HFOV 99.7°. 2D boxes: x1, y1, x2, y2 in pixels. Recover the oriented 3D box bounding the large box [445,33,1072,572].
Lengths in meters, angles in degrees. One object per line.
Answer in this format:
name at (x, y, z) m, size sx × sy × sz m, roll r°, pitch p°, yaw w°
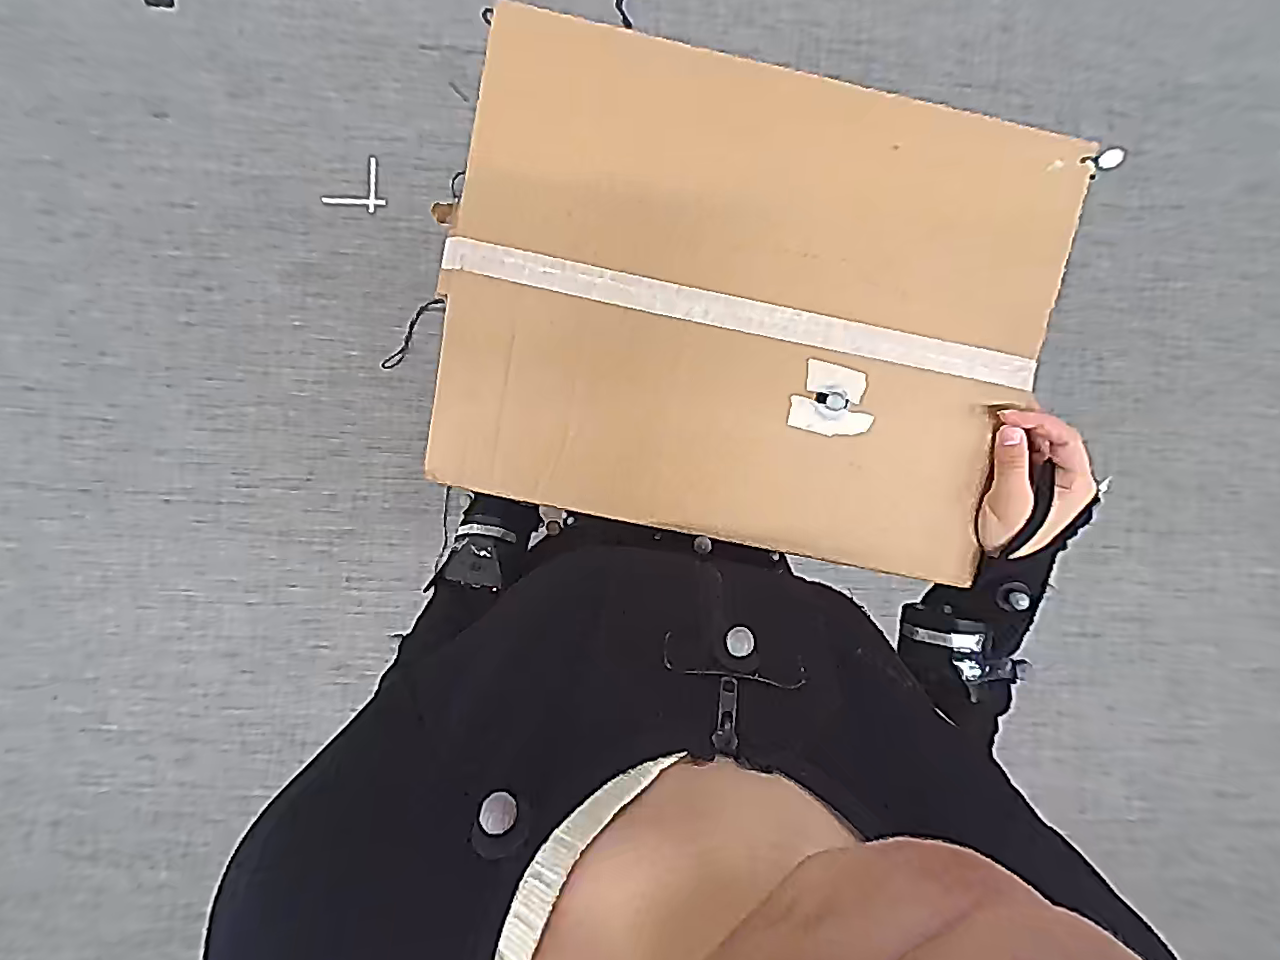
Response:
large box at (0.072, -0.129, 0.527) m, size 0.408 × 0.320 × 0.320 m, roll 11°, pitch 98°, yaw -4°
